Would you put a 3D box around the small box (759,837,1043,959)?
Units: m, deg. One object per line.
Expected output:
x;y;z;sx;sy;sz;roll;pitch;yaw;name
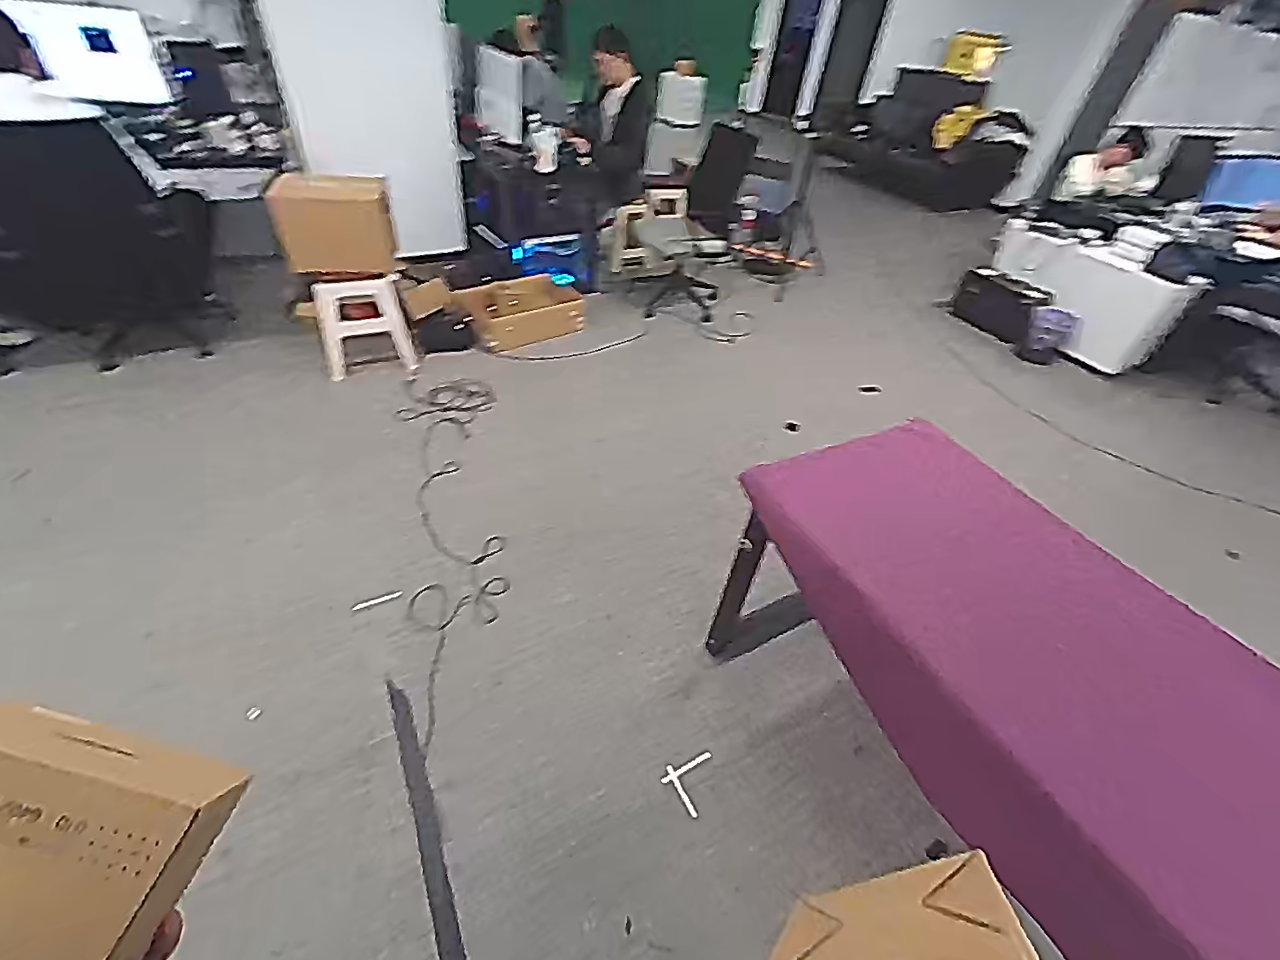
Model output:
0.199;0.369;0.362;0.168;0.179;0.176;-30;62;15;small box

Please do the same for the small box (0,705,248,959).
-0.362;0.232;0.298;0.168;0.179;0.176;28;59;-15;small box
